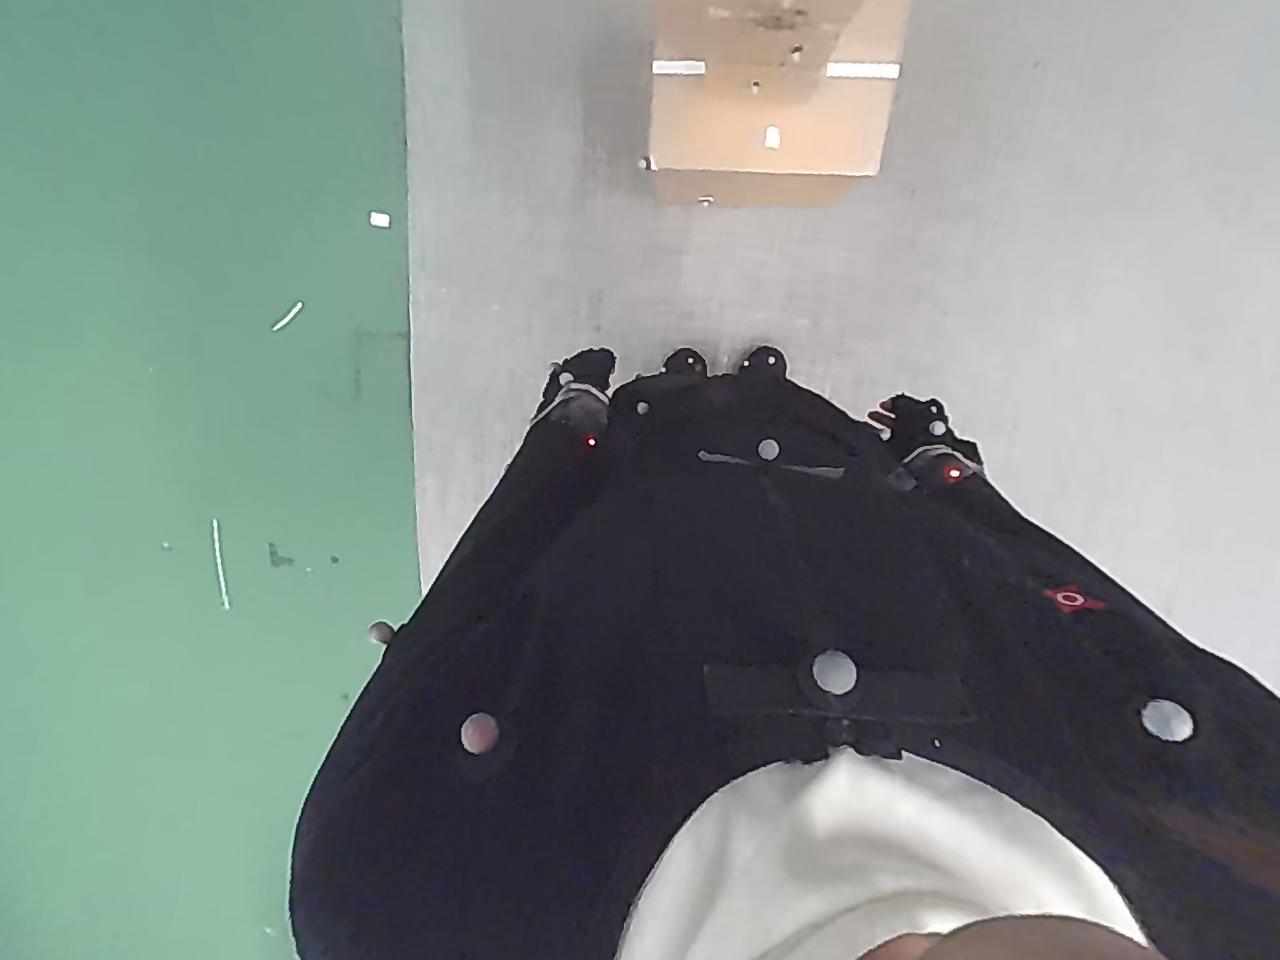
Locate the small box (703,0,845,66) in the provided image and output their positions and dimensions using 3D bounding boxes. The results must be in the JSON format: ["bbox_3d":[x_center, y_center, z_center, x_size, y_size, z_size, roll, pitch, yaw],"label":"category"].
[{"bbox_3d":[0.173,-0.644,0.667,0.168,0.176,0.179,8,112,3],"label":"small box"}]

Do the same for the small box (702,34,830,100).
[{"bbox_3d":[0.196,-0.700,0.814,0.179,0.176,0.168,12,112,2],"label":"small box"}]

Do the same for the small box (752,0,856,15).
[{"bbox_3d":[0.163,-0.586,0.514,0.168,0.176,0.179,10,114,2],"label":"small box"}]
